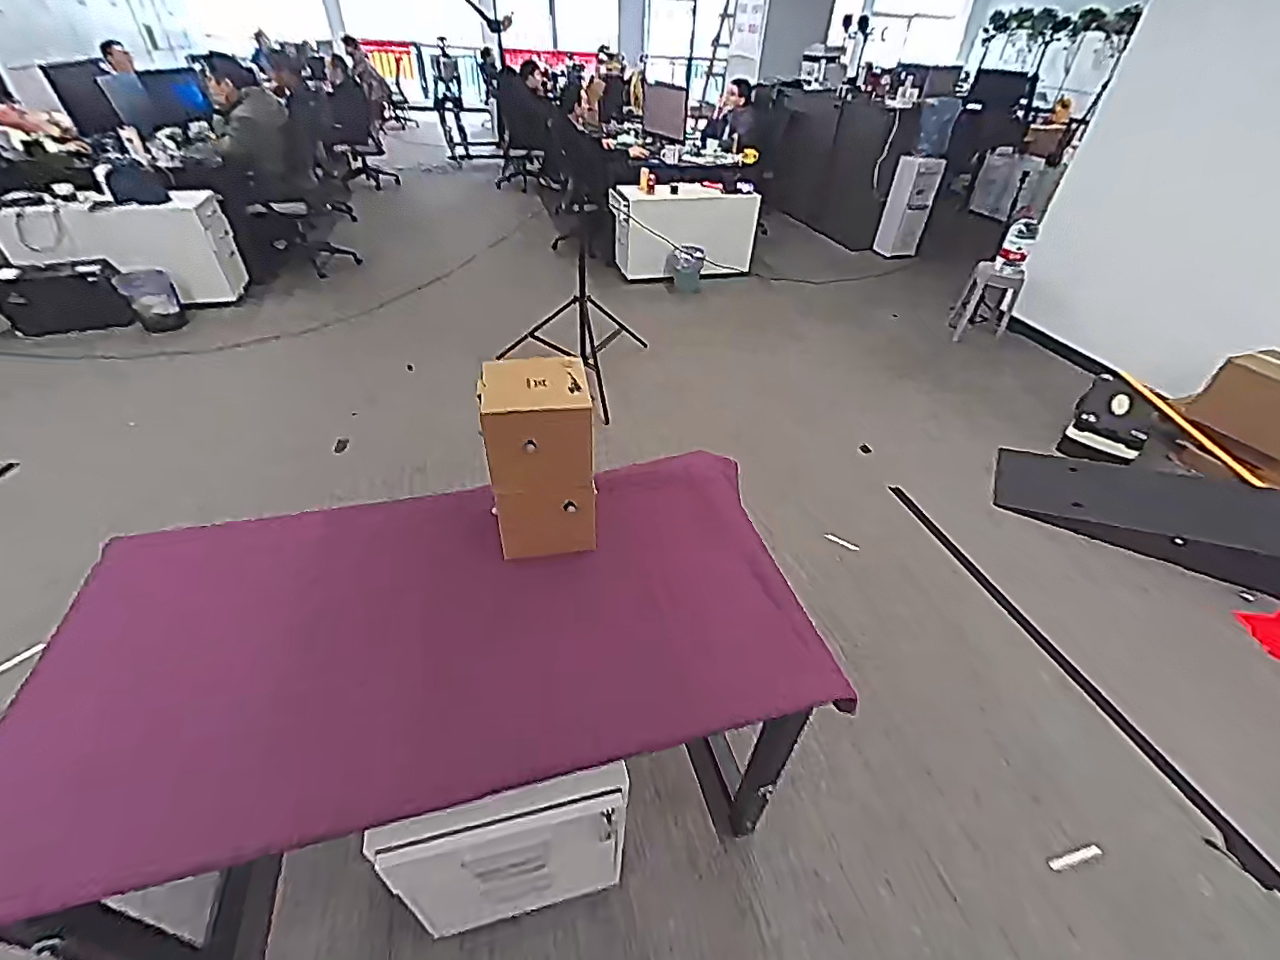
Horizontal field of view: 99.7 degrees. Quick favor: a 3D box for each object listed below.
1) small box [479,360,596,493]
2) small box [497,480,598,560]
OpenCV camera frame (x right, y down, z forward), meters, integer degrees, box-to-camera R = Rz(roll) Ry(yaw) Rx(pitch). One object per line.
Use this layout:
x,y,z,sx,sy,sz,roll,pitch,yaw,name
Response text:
-0.174,-0.091,0.943,0.179,0.176,0.168,-6,42,-9,small box
-0.179,0.035,1.048,0.179,0.176,0.168,-6,41,-10,small box
